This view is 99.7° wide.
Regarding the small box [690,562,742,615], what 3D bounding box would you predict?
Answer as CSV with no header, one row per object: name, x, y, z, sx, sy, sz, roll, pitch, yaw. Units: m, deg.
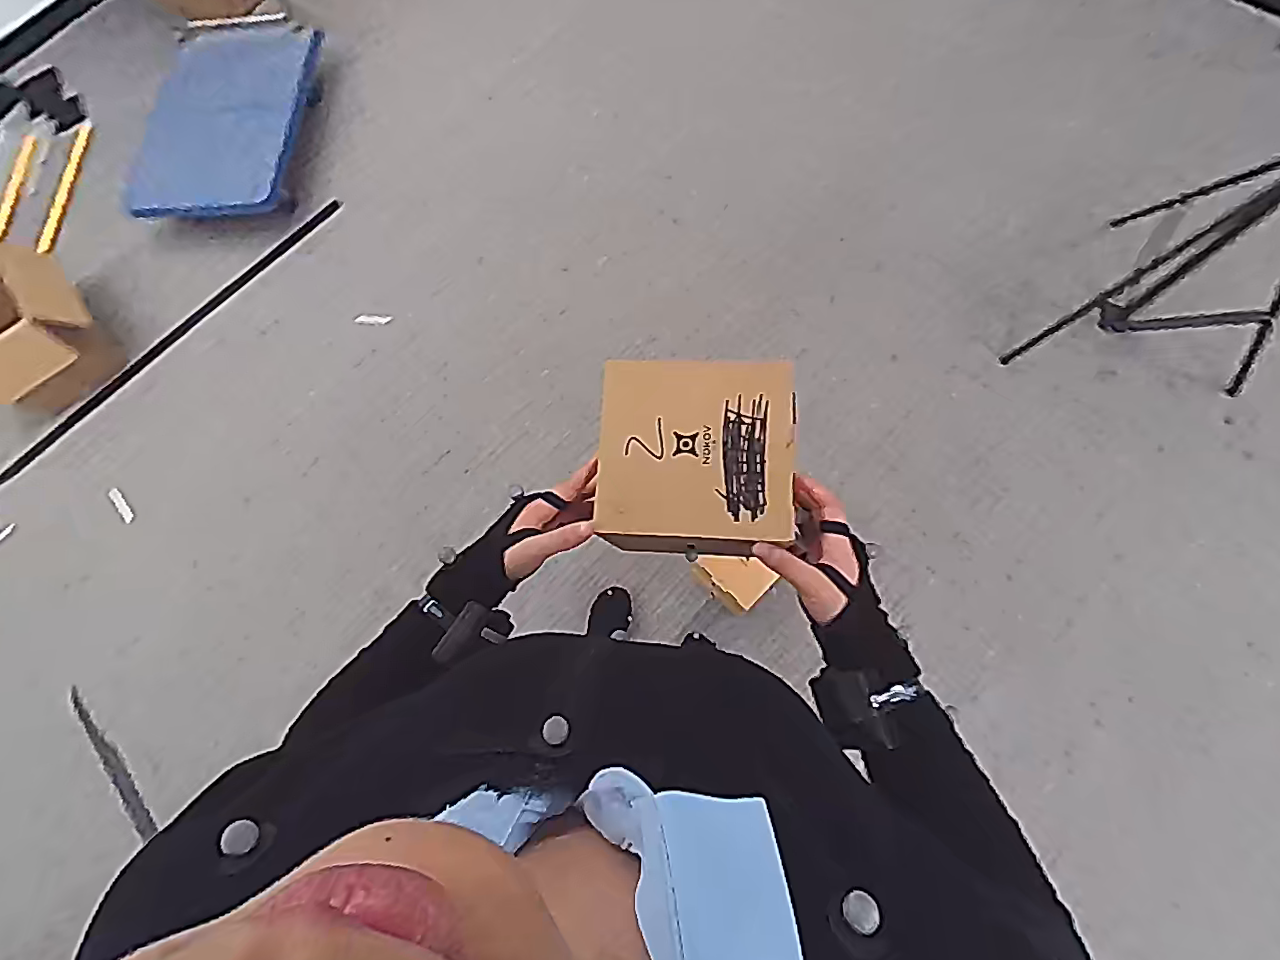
small box,0.251,0.240,1.423,0.168,0.176,0.179,42,82,15

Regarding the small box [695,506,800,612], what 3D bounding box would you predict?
small box,0.243,0.191,1.267,0.179,0.176,0.168,-45,74,-6
